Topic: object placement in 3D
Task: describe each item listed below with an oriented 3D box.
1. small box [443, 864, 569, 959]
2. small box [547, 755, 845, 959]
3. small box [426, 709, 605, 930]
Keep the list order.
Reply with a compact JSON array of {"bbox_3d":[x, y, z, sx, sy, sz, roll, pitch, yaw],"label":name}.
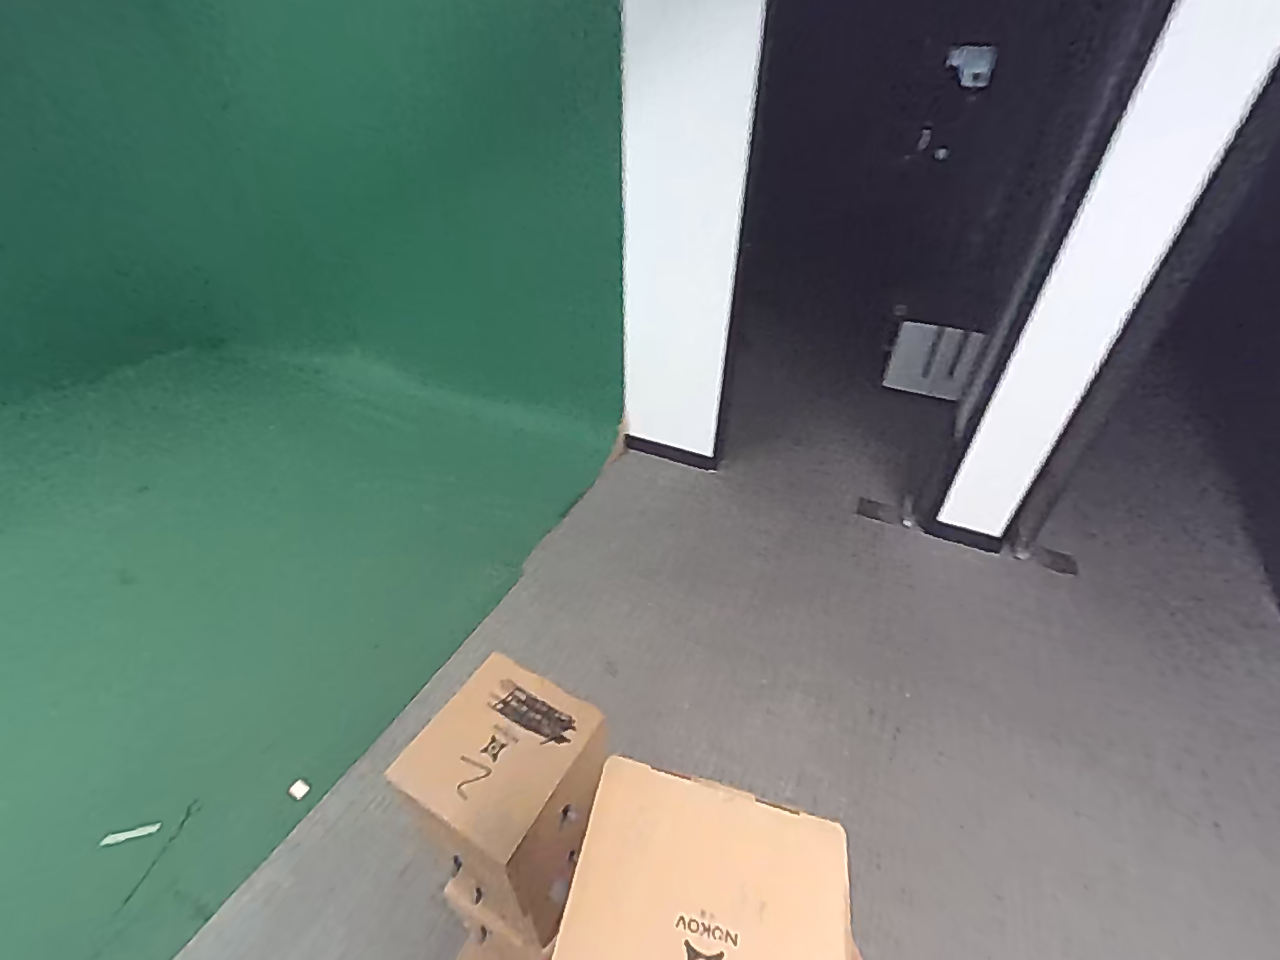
[{"bbox_3d":[-0.169,0.605,0.840,0.168,0.176,0.179,20,41,20],"label":"small box"},{"bbox_3d":[0.023,0.322,0.358,0.168,0.176,0.179,15,44,5],"label":"small box"},{"bbox_3d":[-0.158,0.468,0.749,0.168,0.176,0.179,21,42,21],"label":"small box"}]
